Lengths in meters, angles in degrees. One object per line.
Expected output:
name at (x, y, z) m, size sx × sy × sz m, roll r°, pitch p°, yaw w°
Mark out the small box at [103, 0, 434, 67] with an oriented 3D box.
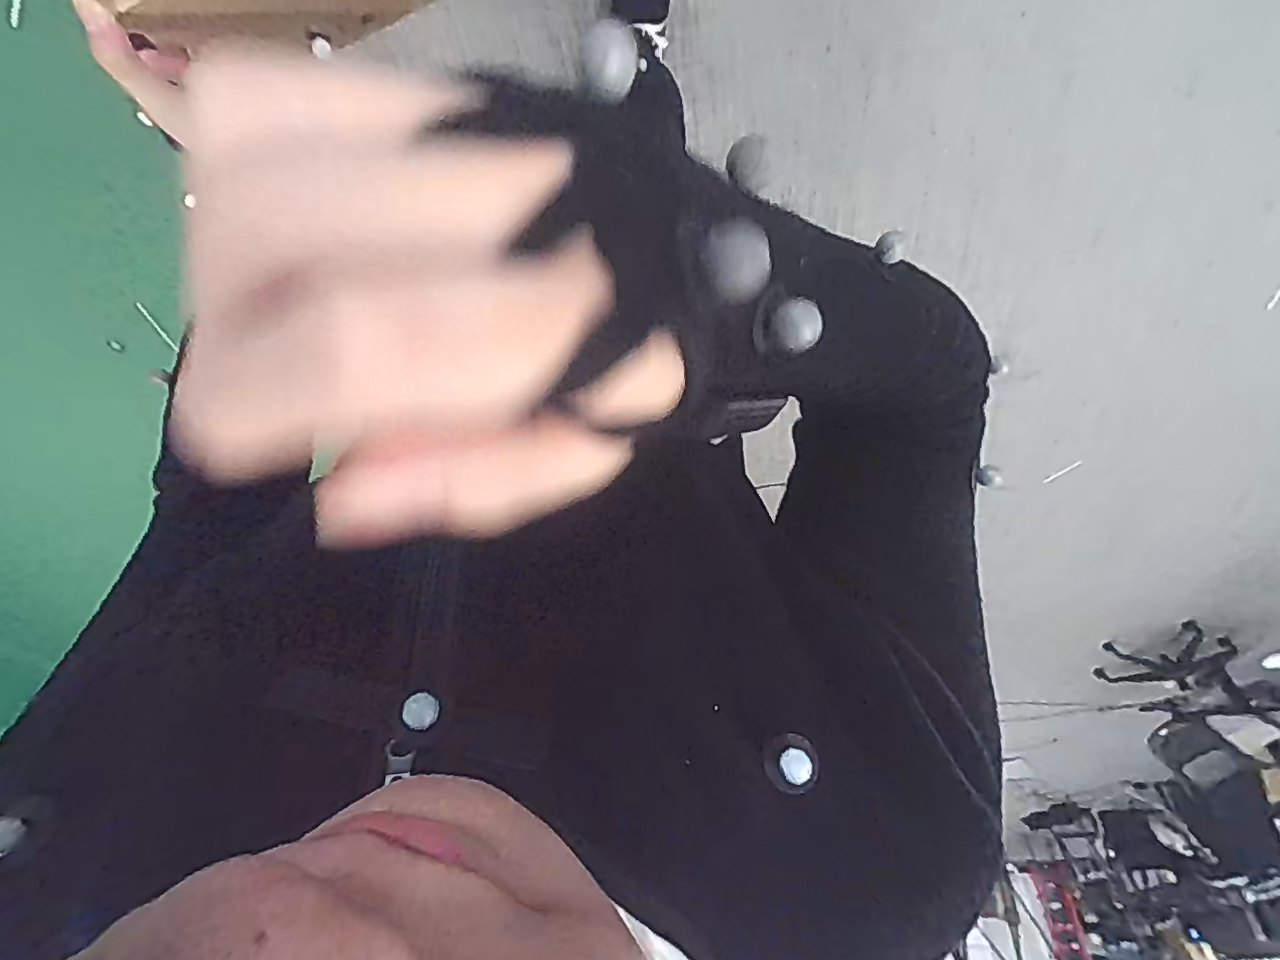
small box at (-0.266, -0.416, 0.351) m, size 0.168 × 0.176 × 0.179 m, roll -13°, pitch 114°, yaw 14°
